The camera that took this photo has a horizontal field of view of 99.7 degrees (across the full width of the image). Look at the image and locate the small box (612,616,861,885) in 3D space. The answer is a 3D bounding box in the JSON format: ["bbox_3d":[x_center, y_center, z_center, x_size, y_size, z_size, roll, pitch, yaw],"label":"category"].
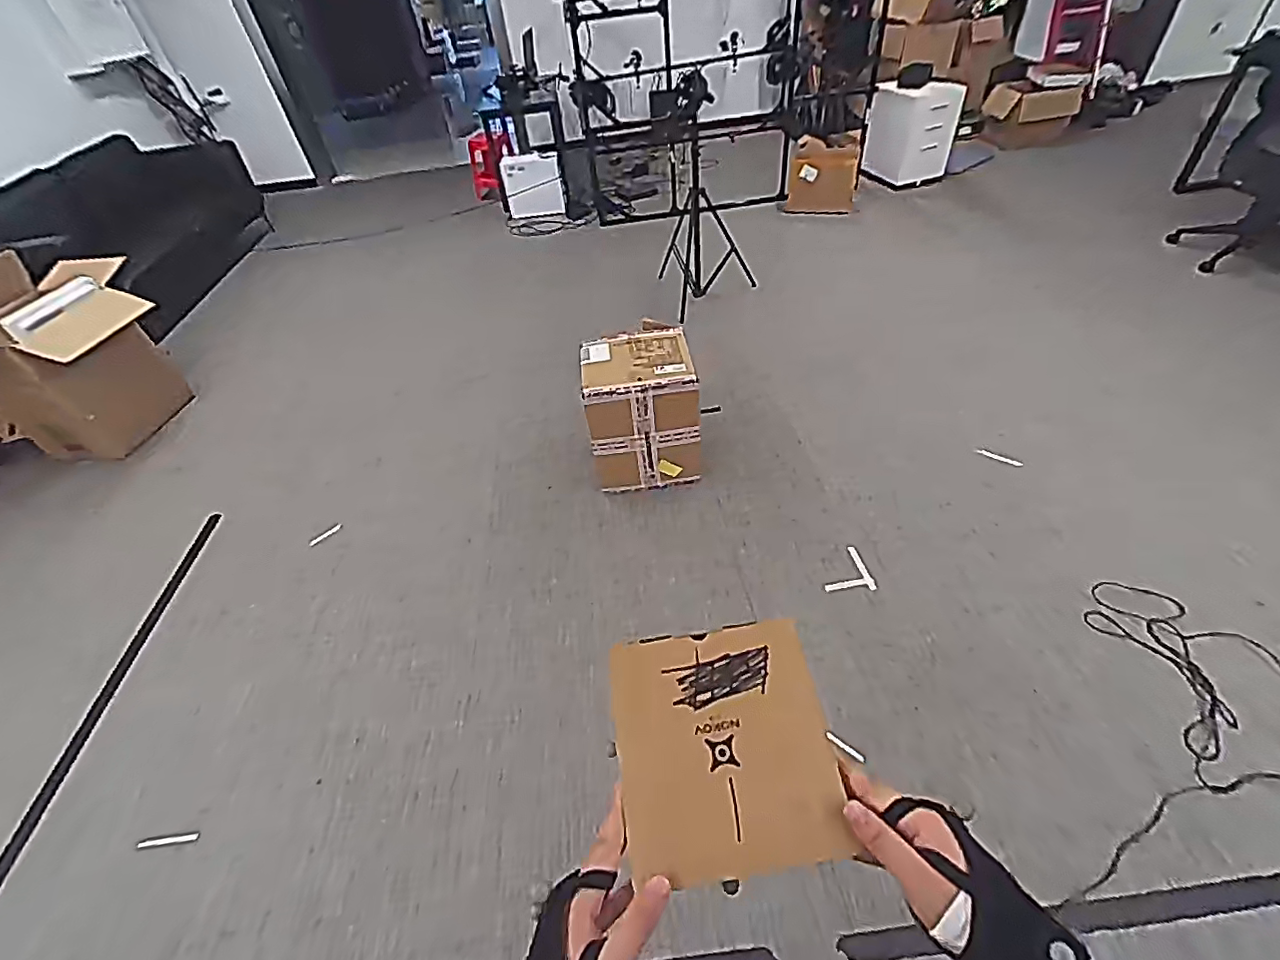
[{"bbox_3d":[0.069,0.244,0.492,0.168,0.176,0.179,-9,57,-2],"label":"small box"}]
